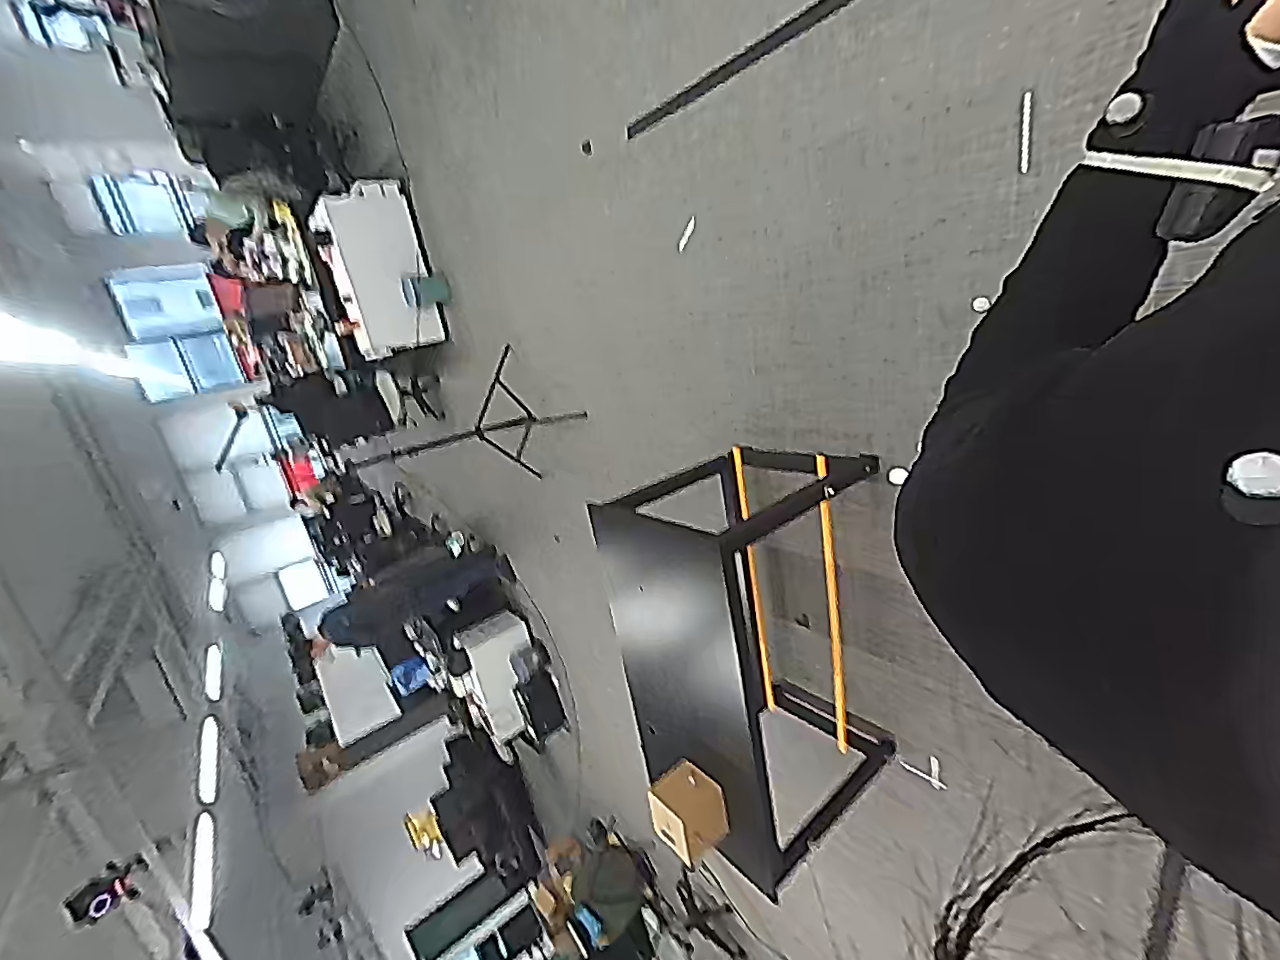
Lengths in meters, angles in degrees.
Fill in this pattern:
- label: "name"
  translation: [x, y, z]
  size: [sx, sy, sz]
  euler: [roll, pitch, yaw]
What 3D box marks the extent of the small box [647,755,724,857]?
- label: "small box"
  translation: [0.149, 1.018, 1.703]
  size: [0.168, 0.176, 0.179]
  euler: [12, 117, 52]
